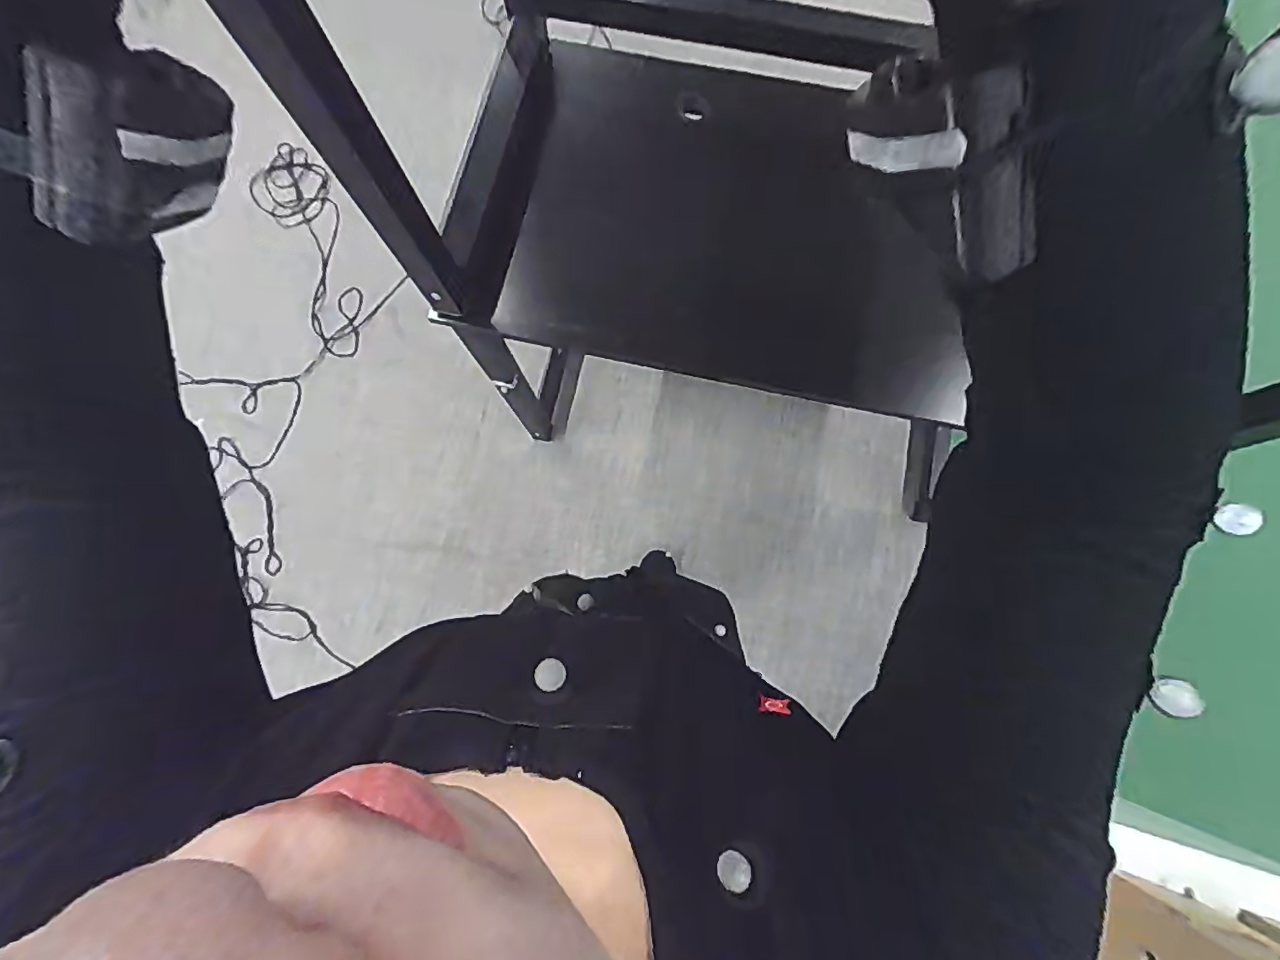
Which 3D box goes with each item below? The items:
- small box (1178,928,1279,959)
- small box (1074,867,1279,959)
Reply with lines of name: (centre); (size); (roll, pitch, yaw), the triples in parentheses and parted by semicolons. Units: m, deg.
small box: (0.708, 0.619, 0.560); (0.179, 0.176, 0.168); (16, 79, 4)
small box: (0.726, 0.664, 0.715); (0.168, 0.176, 0.179); (19, 79, 5)
